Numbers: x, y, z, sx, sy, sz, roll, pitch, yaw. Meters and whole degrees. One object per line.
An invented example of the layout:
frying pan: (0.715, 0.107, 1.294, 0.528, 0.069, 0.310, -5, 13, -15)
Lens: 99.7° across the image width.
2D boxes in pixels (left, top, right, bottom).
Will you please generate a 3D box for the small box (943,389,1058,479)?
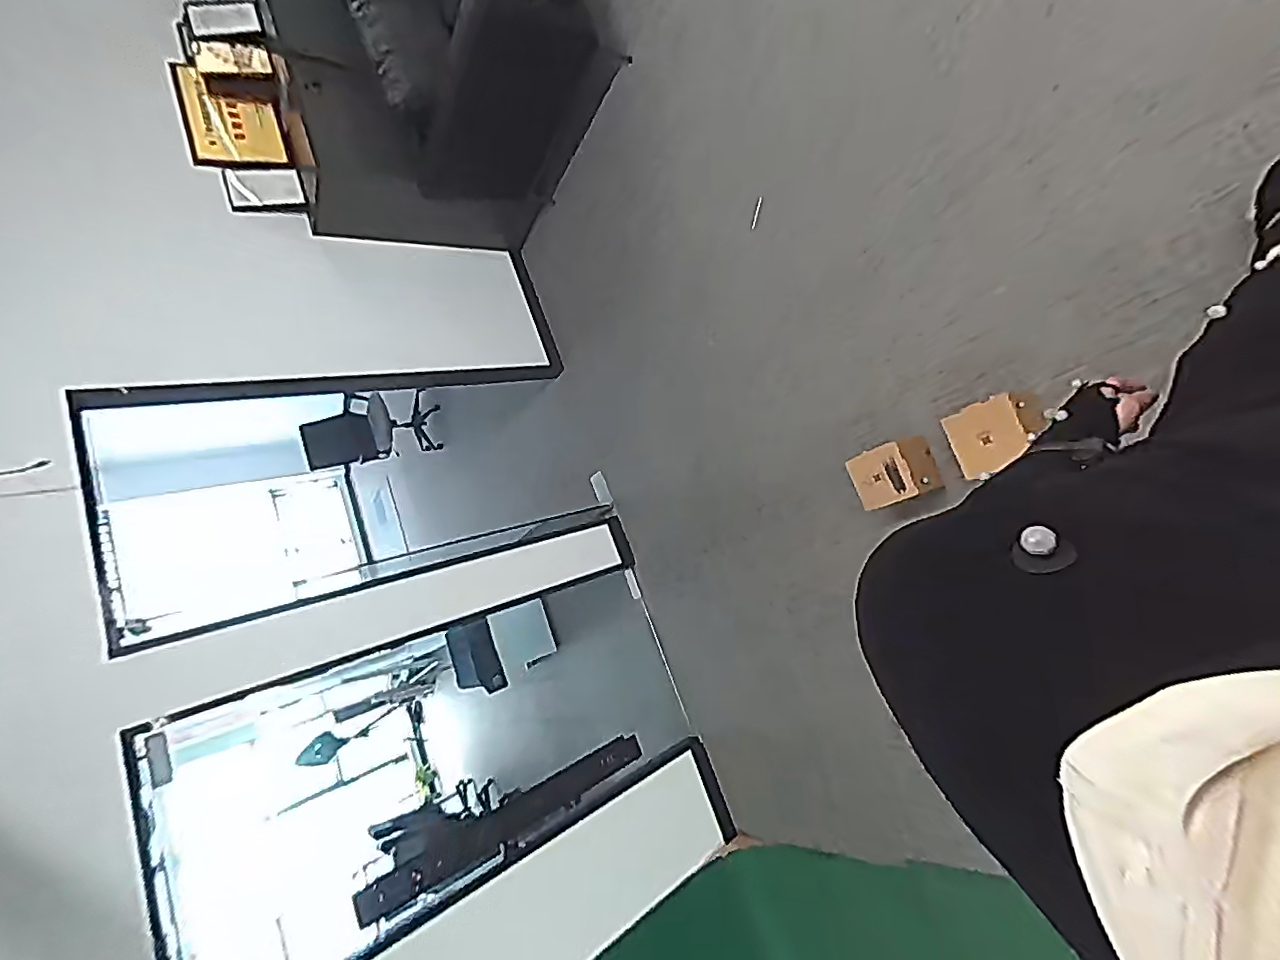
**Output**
small box: (0.922, -0.119, 1.381, 0.168, 0.176, 0.179, -30, 75, 52)

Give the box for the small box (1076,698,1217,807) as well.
small box: (1.175, 0.622, 1.257, 0.179, 0.176, 0.168, -34, 73, 53)
